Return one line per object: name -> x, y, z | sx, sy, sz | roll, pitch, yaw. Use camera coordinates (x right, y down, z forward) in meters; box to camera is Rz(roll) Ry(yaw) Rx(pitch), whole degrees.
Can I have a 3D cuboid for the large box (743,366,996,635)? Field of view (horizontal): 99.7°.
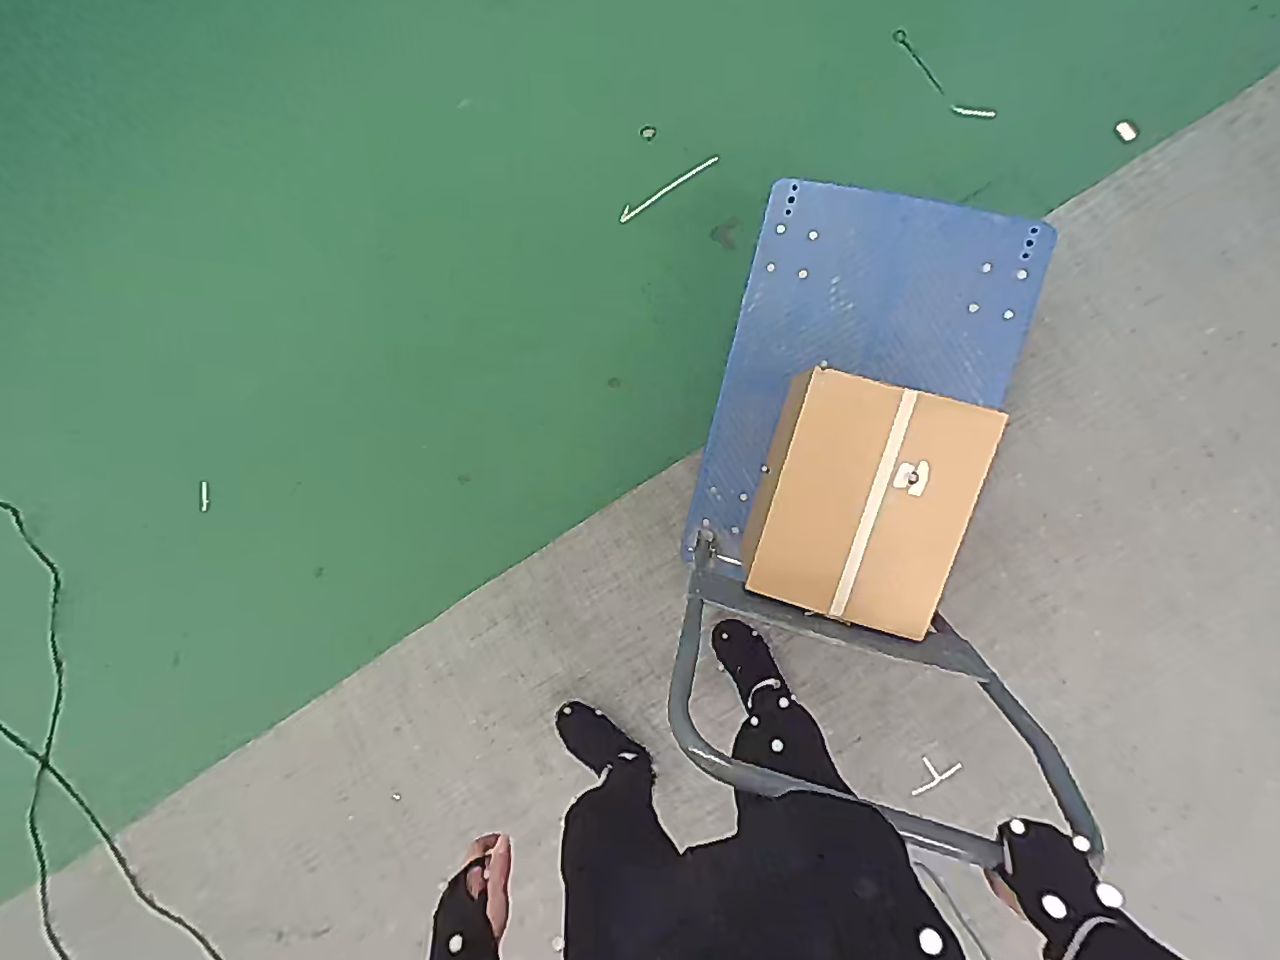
large box -> 0.402, 0.024, 1.057 | 0.320, 0.320, 0.408 | 16, 99, 6
